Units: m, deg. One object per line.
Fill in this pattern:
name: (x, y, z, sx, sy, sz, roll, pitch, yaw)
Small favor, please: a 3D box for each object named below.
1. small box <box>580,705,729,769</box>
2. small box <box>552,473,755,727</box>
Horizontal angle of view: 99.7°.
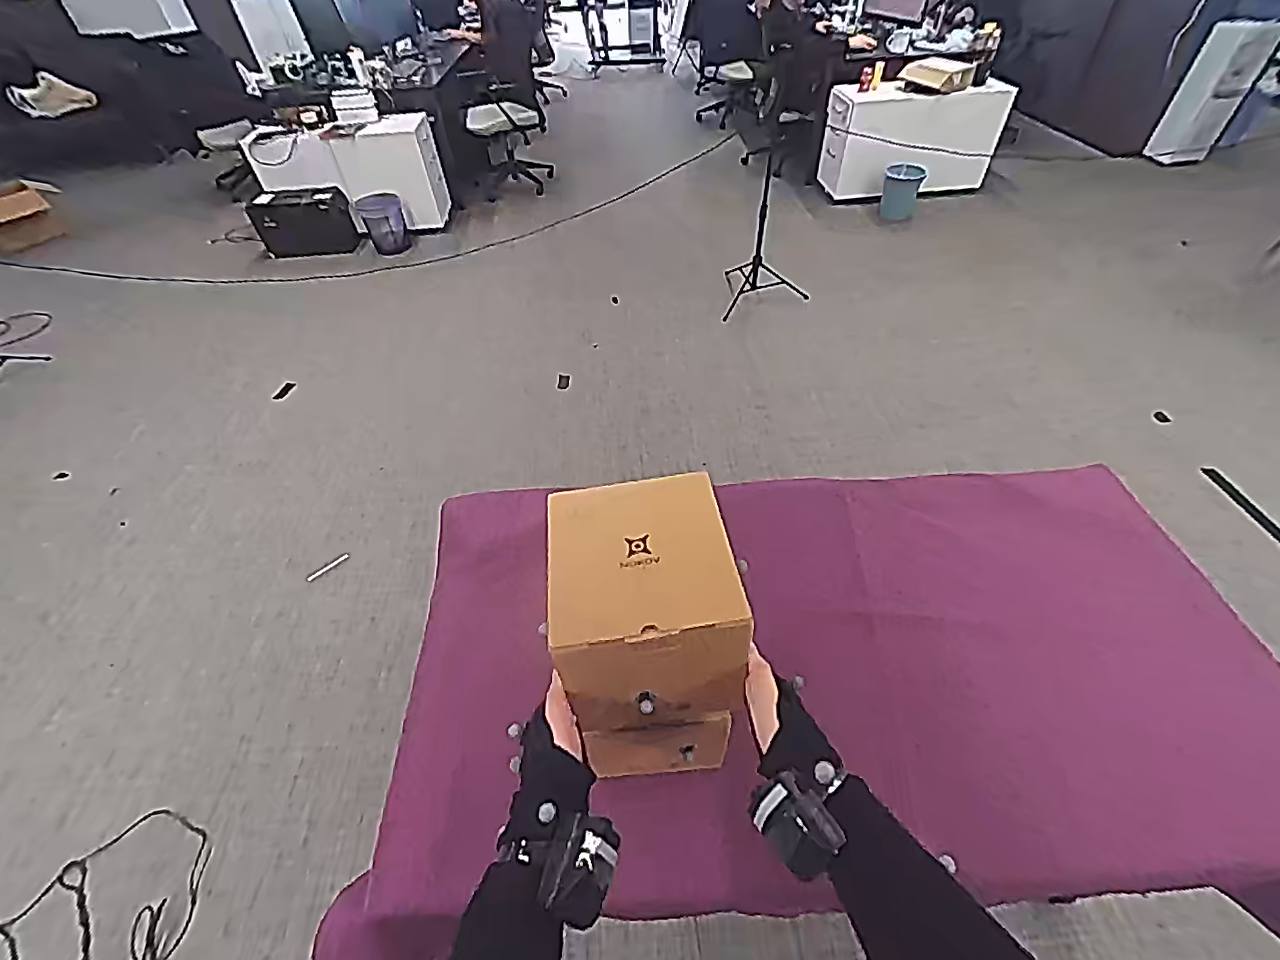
small box: (0.015, 0.256, 0.693, 0.168, 0.176, 0.179, -4, 47, -1)
small box: (0.007, 0.119, 0.542, 0.168, 0.176, 0.179, -8, 46, -2)
